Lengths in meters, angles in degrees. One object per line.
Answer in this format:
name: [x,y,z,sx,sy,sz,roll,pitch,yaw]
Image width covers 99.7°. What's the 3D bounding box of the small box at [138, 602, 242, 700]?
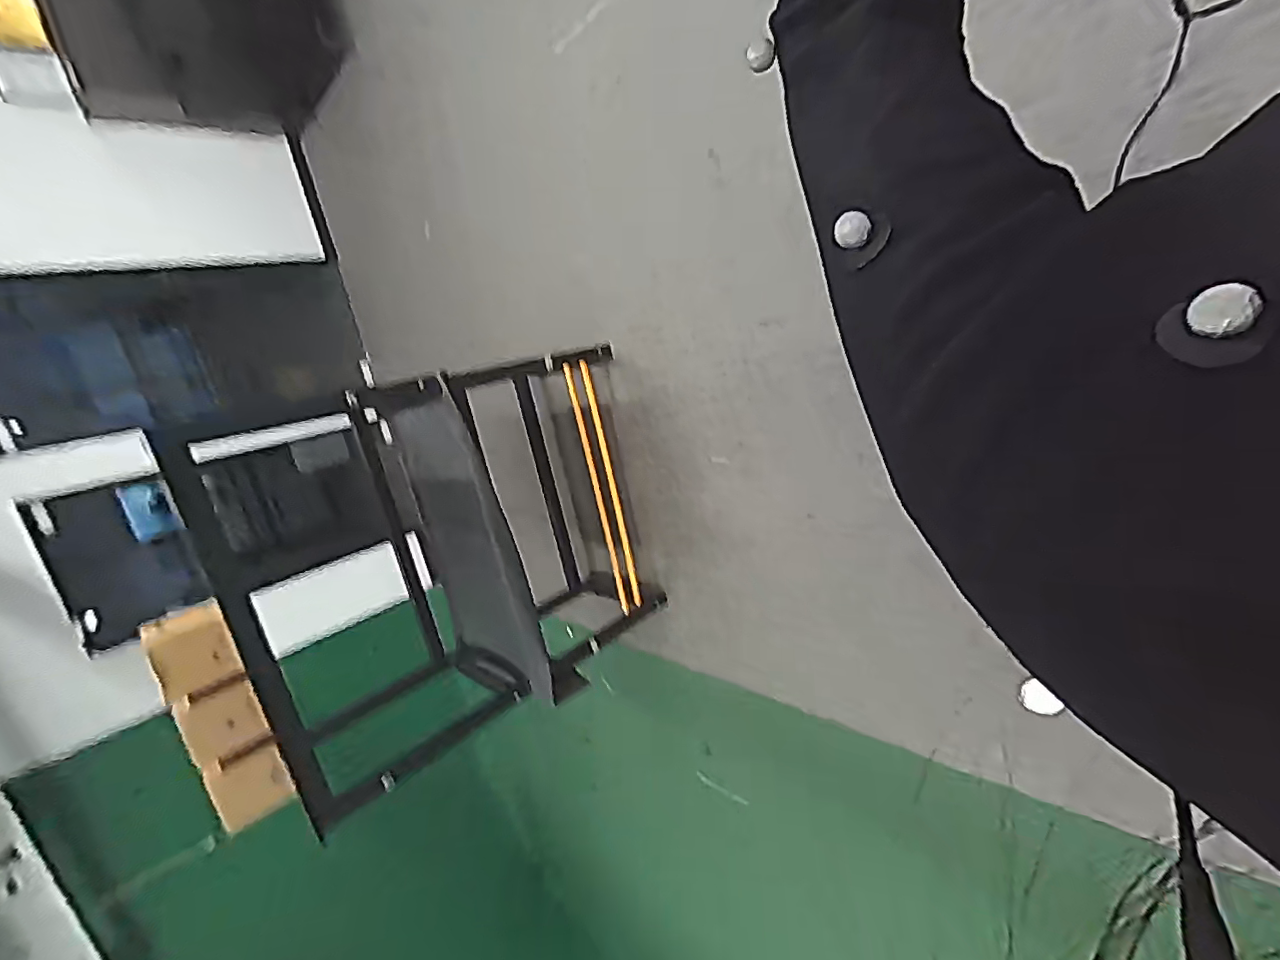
small box: [-1.180,0.438,1.423,0.179,0.176,0.168,3,110,46]
